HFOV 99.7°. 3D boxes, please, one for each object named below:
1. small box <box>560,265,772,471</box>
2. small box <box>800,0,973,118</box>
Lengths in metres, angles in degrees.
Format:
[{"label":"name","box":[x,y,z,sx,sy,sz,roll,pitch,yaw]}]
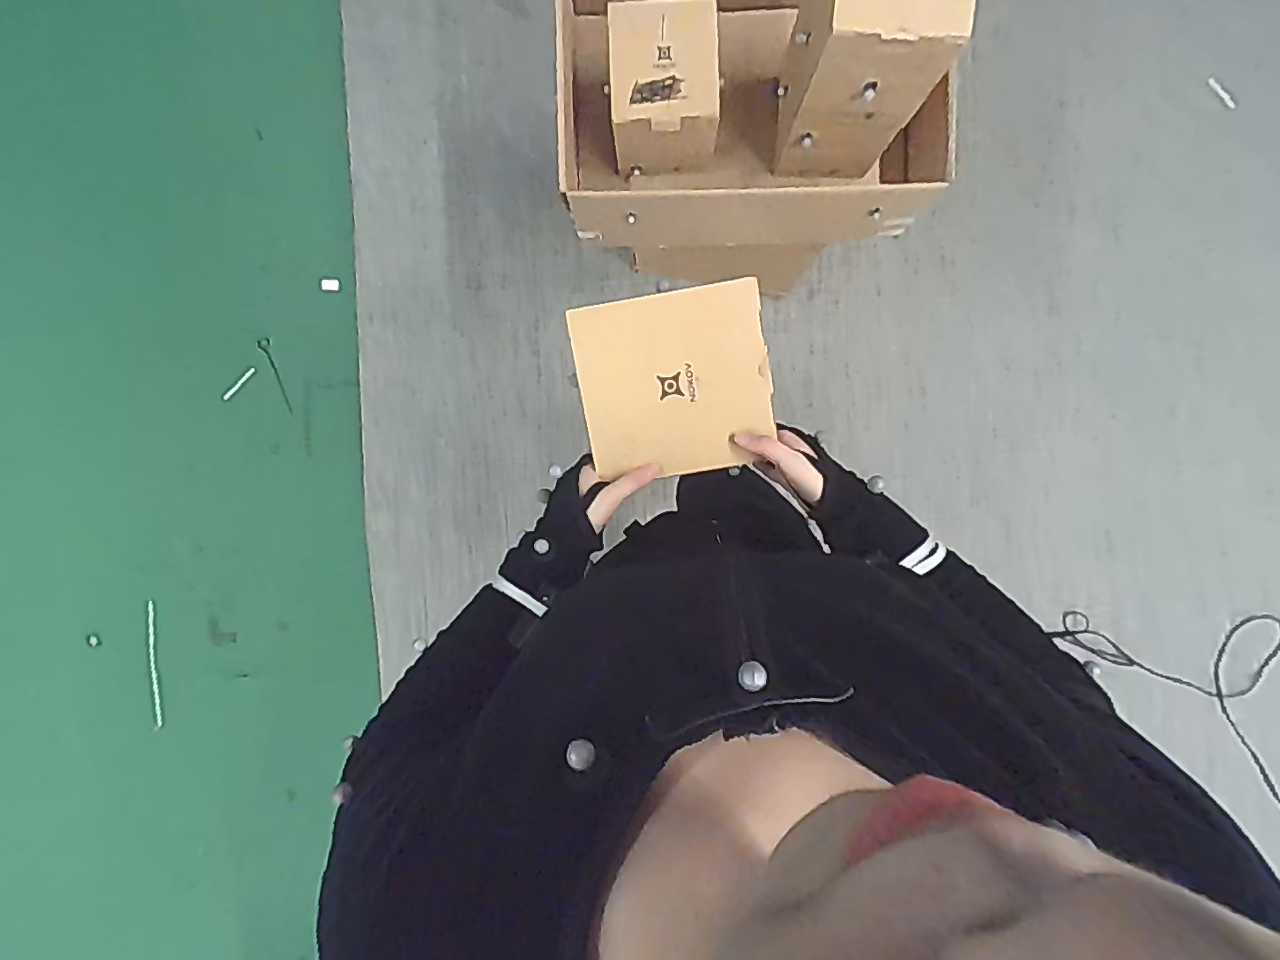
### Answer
[{"label":"small box","box":[0.026,-0.111,0.572,0.179,0.176,0.168,-10,100,1]},{"label":"small box","box":[0.318,-0.615,0.713,0.168,0.176,0.179,6,94,2]}]
